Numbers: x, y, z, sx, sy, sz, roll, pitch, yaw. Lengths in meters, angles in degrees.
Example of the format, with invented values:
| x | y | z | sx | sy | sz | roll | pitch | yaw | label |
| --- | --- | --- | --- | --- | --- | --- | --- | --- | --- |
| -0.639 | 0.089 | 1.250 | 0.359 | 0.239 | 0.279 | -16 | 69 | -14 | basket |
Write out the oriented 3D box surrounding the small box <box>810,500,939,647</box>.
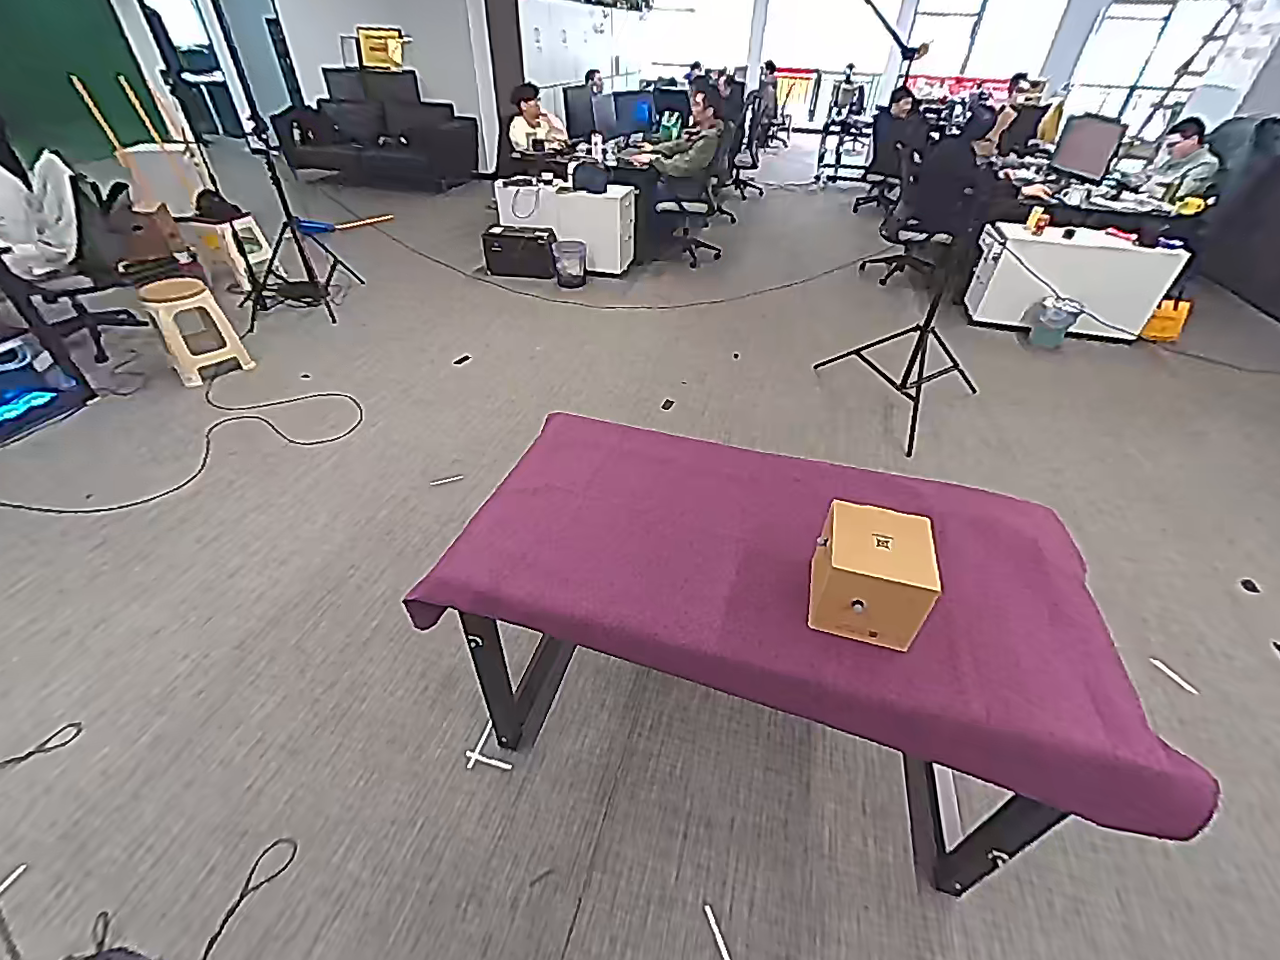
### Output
| x | y | z | sx | sy | sz | roll | pitch | yaw | label |
| --- | --- | --- | --- | --- | --- | --- | --- | --- | --- |
| 0.404 | 0.166 | 0.956 | 0.168 | 0.176 | 0.179 | 11 | 39 | 12 | small box |
